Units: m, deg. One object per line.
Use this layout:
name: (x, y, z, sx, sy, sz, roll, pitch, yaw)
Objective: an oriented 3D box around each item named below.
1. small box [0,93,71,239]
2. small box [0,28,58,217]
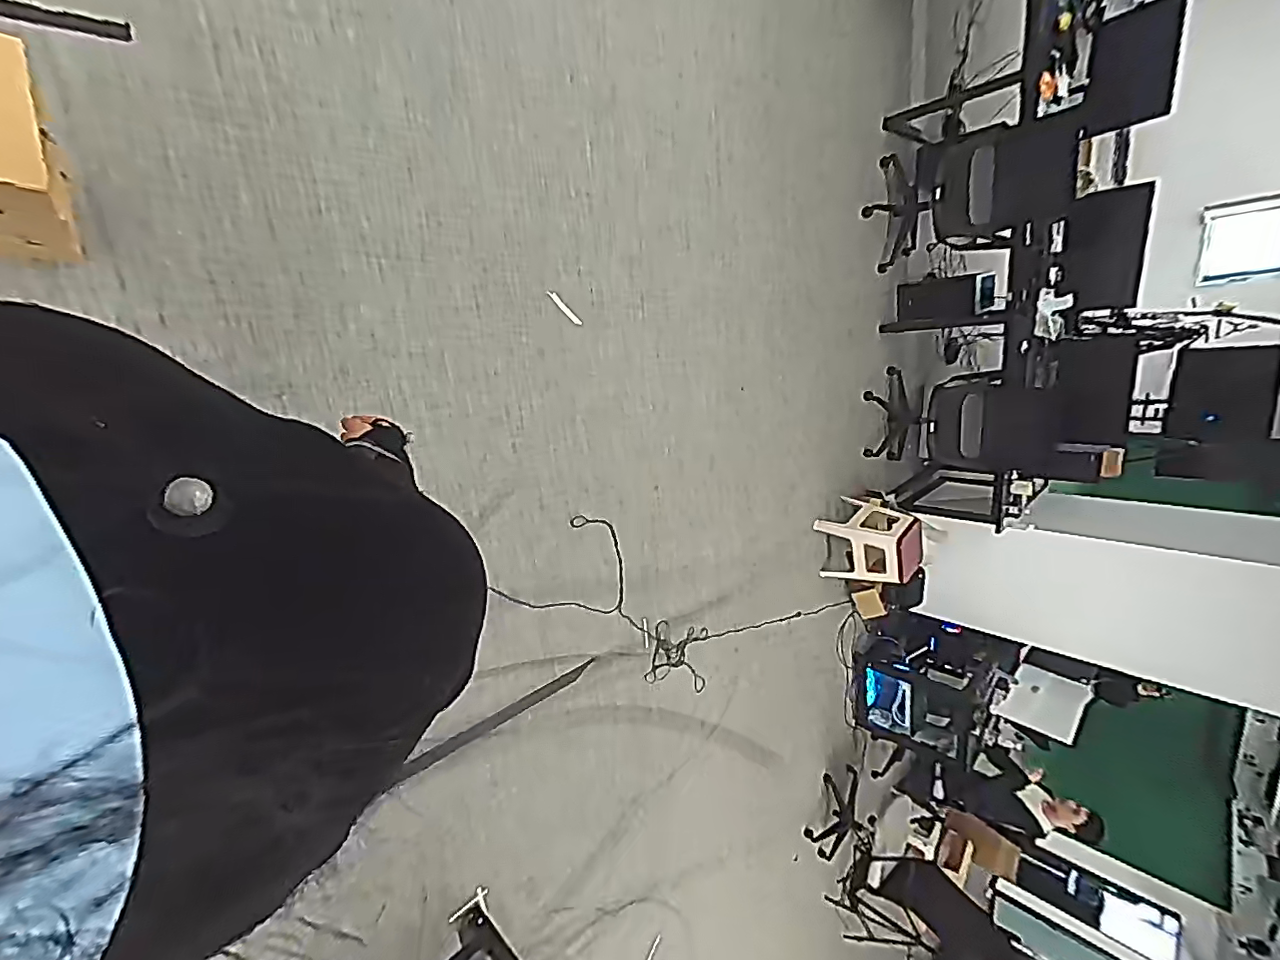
small box: (-0.964, -0.467, 0.787, 0.168, 0.176, 0.179, -10, 103, -43)
small box: (-0.856, -0.450, 0.667, 0.168, 0.176, 0.179, -10, 103, -42)
